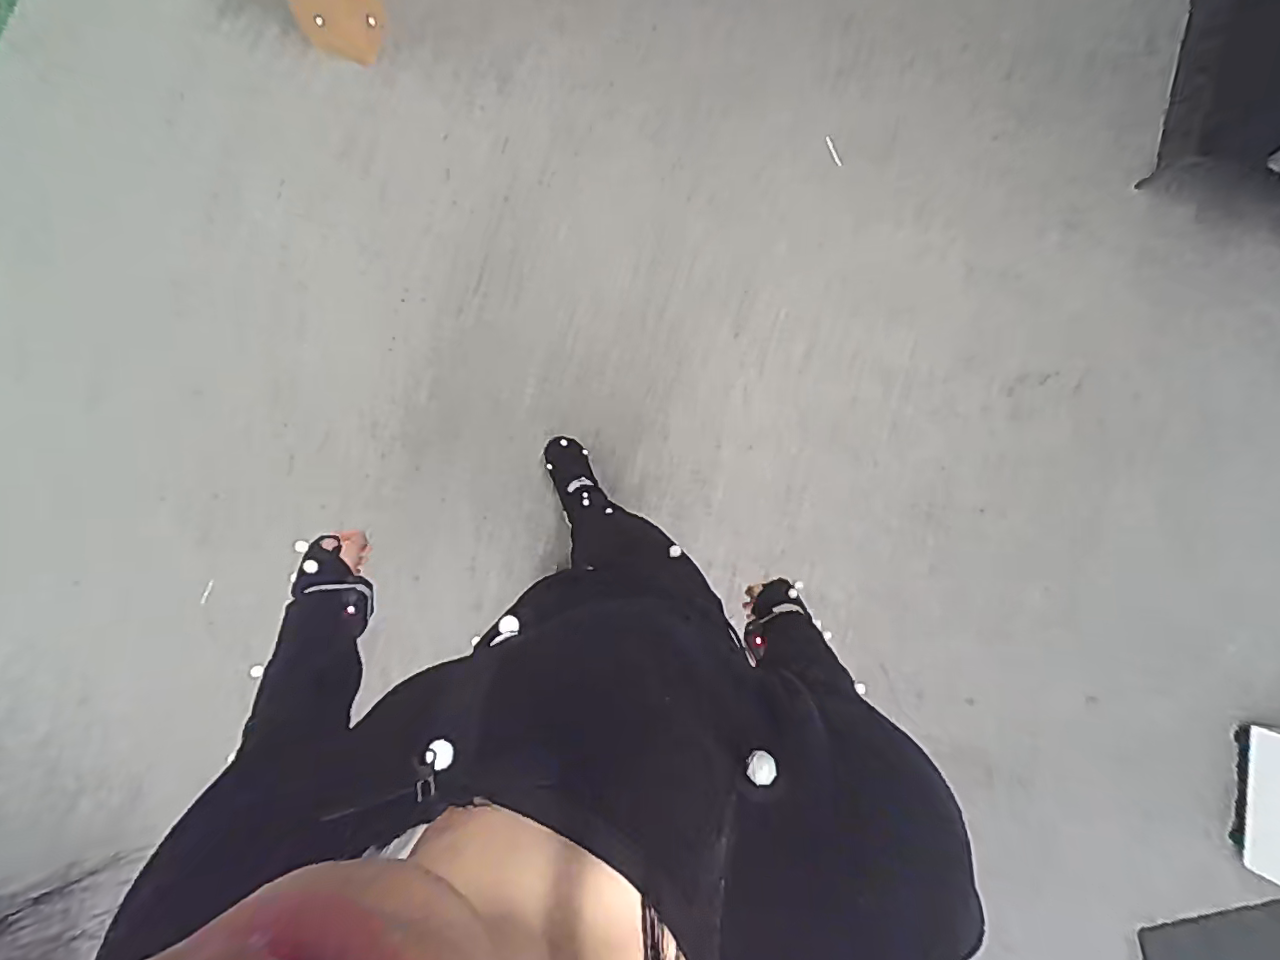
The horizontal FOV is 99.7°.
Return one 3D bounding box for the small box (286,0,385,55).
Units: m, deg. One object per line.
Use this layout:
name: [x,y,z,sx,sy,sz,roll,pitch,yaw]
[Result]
small box: [-0.811,-1.290,1.442,0.179,0.176,0.168,14,87,-3]
